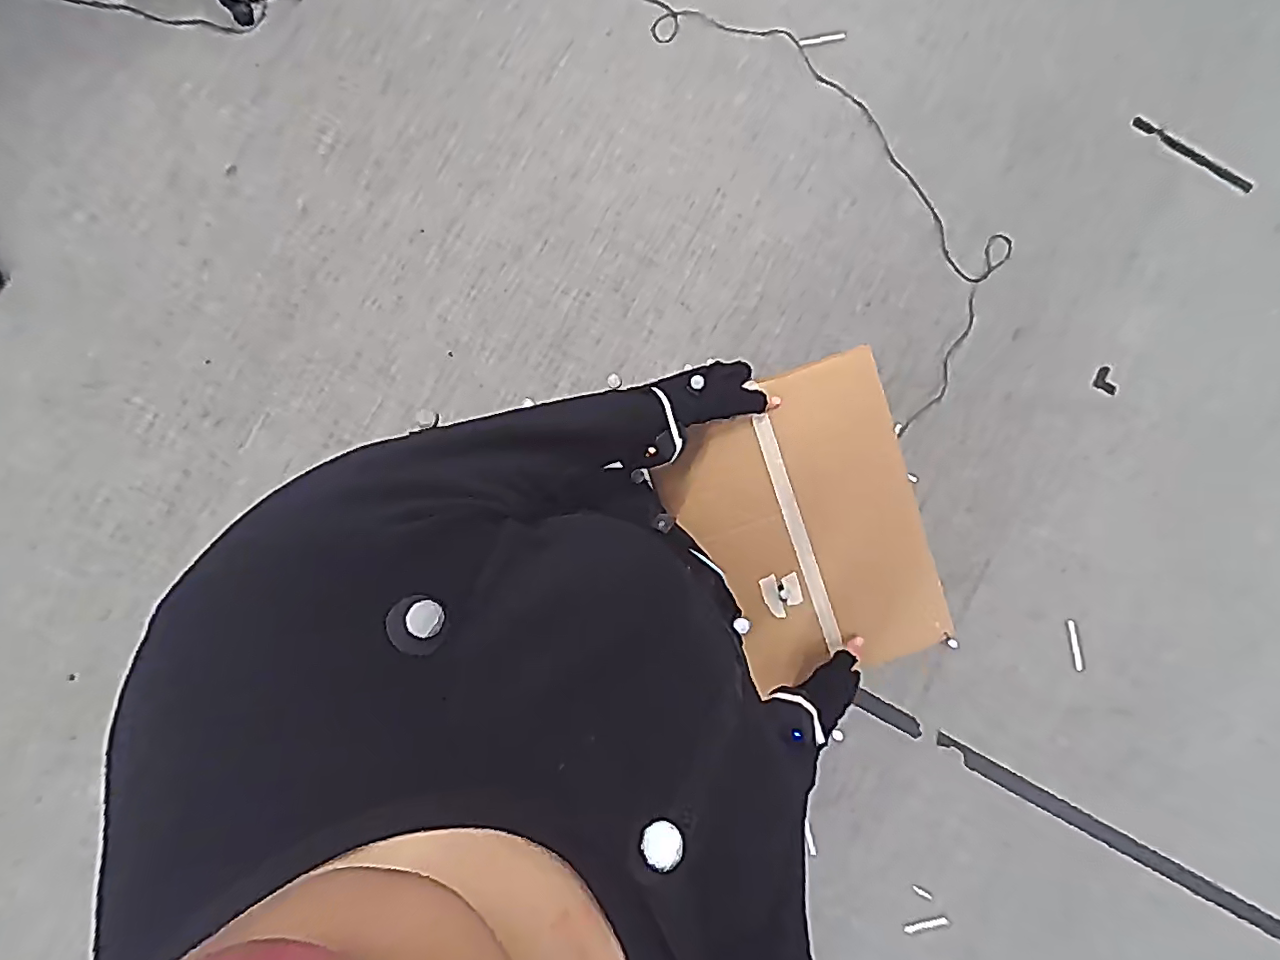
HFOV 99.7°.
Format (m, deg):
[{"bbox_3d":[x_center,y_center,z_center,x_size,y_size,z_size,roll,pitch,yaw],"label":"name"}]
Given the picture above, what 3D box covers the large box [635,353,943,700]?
[{"bbox_3d":[0.200,0.051,0.861,0.320,0.320,0.408,-19,97,3],"label":"large box"}]
